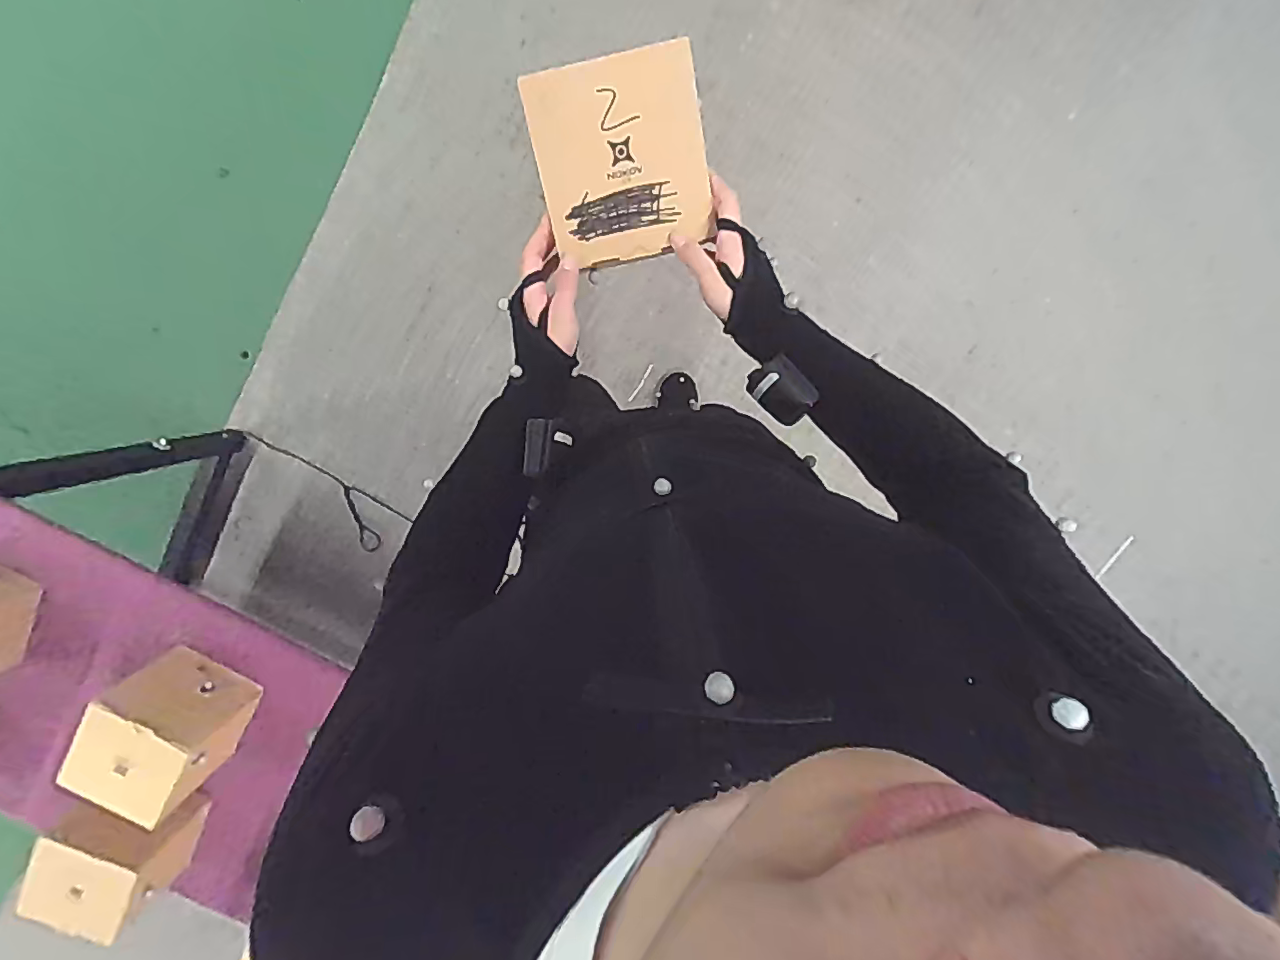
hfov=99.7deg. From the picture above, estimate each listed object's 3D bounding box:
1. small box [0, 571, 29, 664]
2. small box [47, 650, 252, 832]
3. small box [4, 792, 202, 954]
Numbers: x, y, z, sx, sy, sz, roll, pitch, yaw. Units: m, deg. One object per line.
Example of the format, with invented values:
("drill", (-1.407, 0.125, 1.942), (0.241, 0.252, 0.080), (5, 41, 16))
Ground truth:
("small box", (-1.159, 0.236, 0.865), (0.168, 0.176, 0.179), (29, 102, -6))
("small box", (-0.802, 0.424, 0.903), (0.168, 0.176, 0.179), (32, 101, -5))
("small box", (-0.933, 0.664, 0.956), (0.168, 0.176, 0.179), (27, 100, -6))
